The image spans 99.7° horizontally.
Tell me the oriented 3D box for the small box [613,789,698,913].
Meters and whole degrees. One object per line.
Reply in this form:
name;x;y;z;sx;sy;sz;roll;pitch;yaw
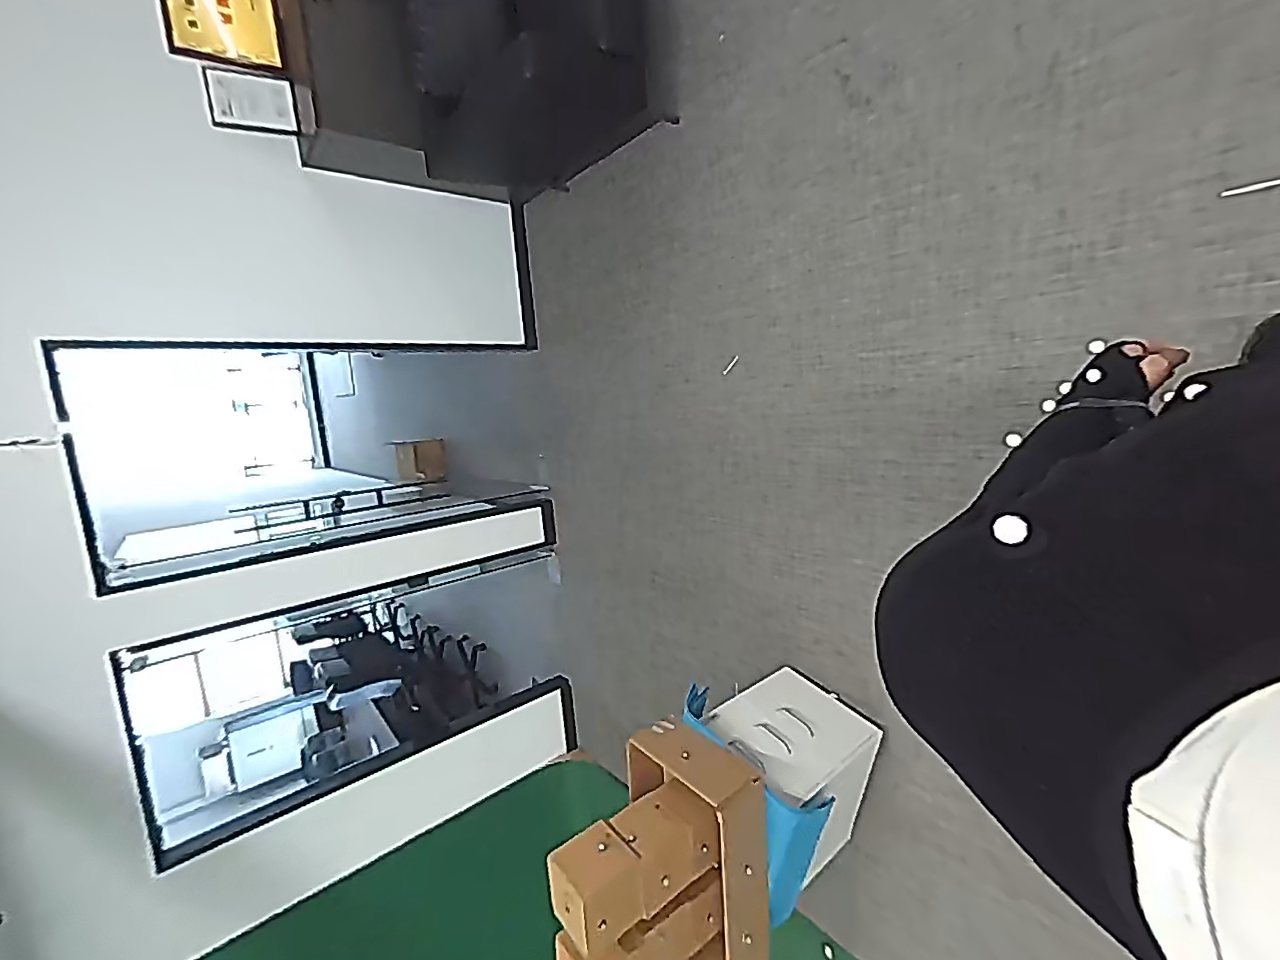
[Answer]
small box;0.041;0.986;1.453;0.168;0.176;0.179;6;106;51

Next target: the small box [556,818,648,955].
small box;-0.092;1.006;1.356;0.168;0.176;0.179;9;106;50
